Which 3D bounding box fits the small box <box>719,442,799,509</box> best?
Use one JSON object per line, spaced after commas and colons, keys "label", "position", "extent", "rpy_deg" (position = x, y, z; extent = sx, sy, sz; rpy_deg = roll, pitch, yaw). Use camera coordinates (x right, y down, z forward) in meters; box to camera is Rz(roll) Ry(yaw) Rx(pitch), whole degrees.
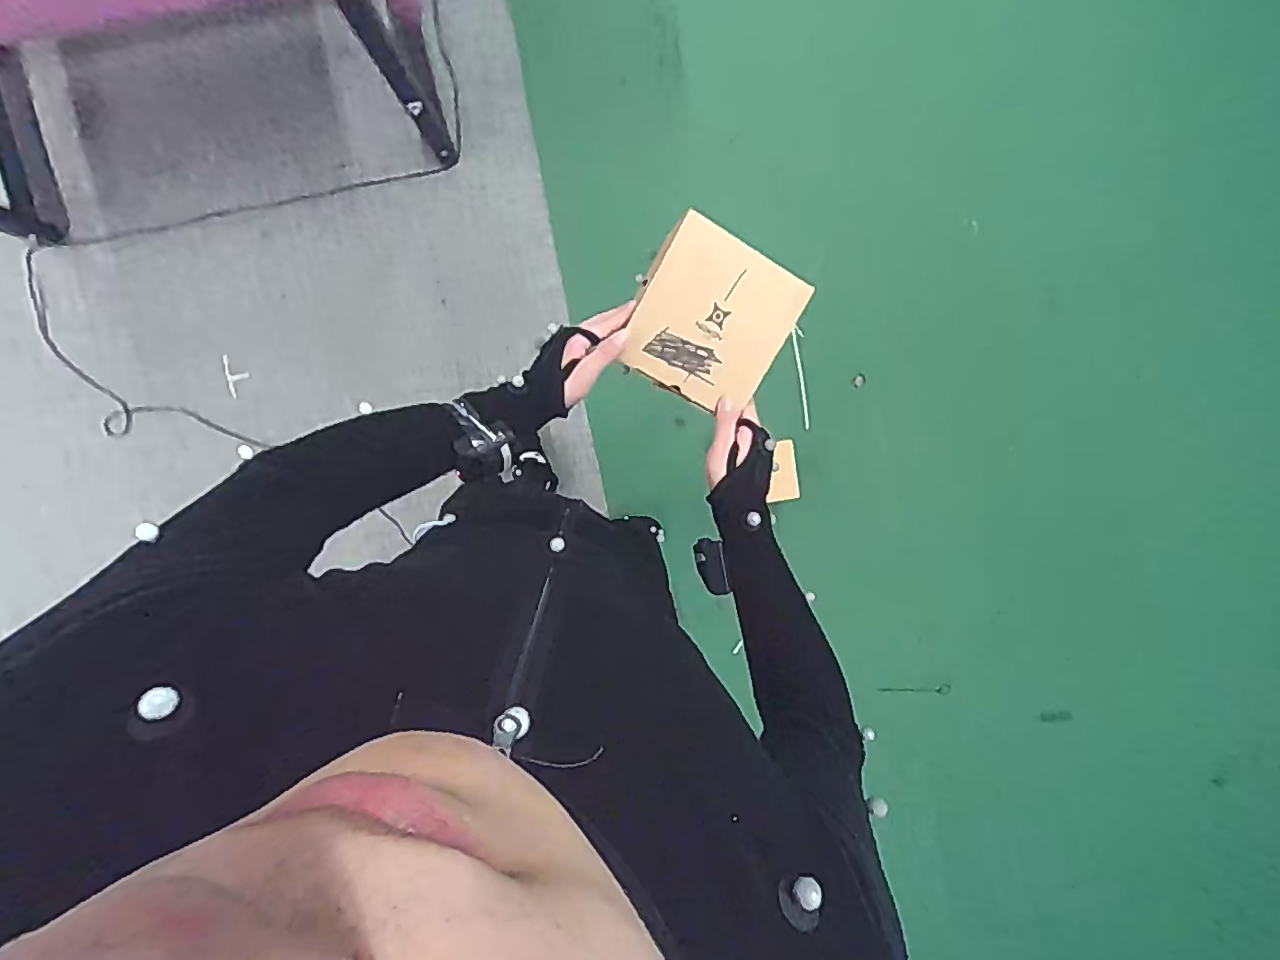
{"label": "small box", "position": [0.339, -0.019, 1.563], "extent": [0.179, 0.176, 0.168], "rpy_deg": [-9, 95, -2]}

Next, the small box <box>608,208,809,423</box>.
{"label": "small box", "position": [0.070, -0.193, 0.669], "extent": [0.168, 0.176, 0.179], "rpy_deg": [27, 100, -12]}
